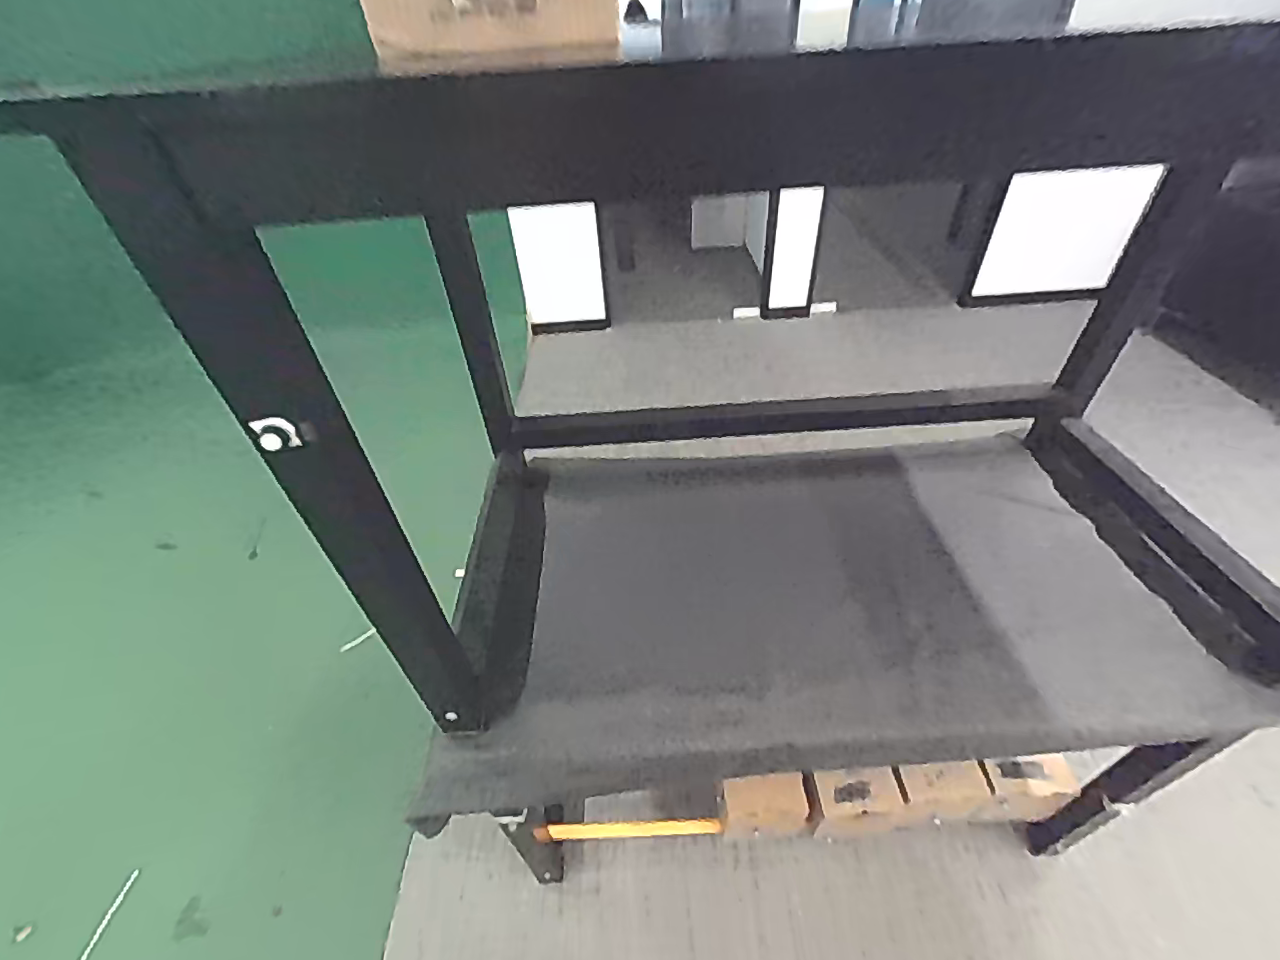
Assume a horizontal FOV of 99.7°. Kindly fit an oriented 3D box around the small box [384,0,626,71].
[{"bbox_3d":[-0.101,-0.407,0.388,0.168,0.176,0.179,-6,42,-1],"label":"small box"}]
